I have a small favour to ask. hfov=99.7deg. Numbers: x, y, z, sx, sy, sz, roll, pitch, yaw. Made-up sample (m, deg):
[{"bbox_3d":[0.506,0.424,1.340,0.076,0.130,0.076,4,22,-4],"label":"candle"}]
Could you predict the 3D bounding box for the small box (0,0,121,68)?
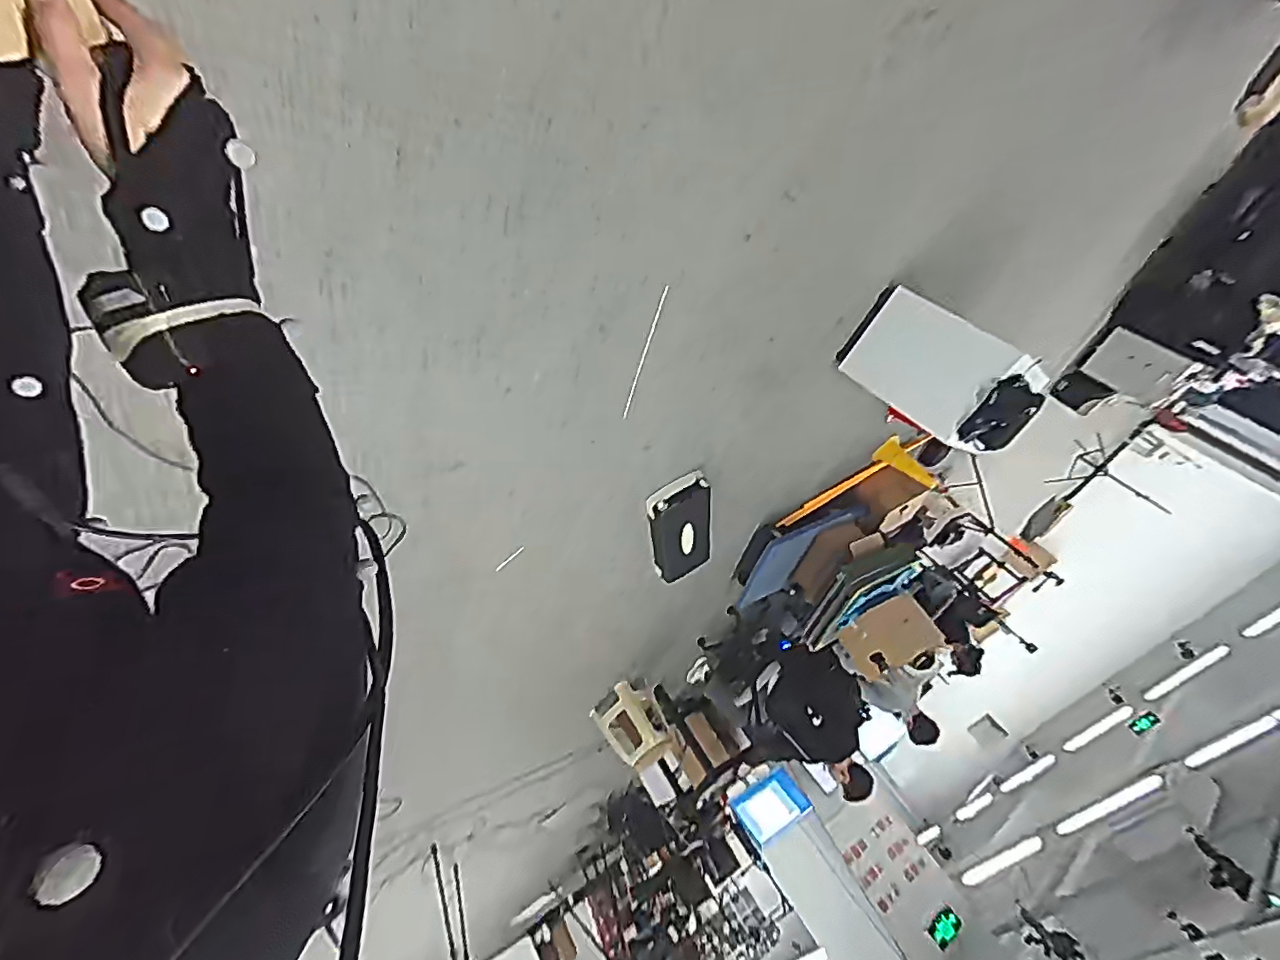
[{"bbox_3d":[-0.420,-0.308,0.267,0.179,0.176,0.168,-32,142,-19],"label":"small box"}]
